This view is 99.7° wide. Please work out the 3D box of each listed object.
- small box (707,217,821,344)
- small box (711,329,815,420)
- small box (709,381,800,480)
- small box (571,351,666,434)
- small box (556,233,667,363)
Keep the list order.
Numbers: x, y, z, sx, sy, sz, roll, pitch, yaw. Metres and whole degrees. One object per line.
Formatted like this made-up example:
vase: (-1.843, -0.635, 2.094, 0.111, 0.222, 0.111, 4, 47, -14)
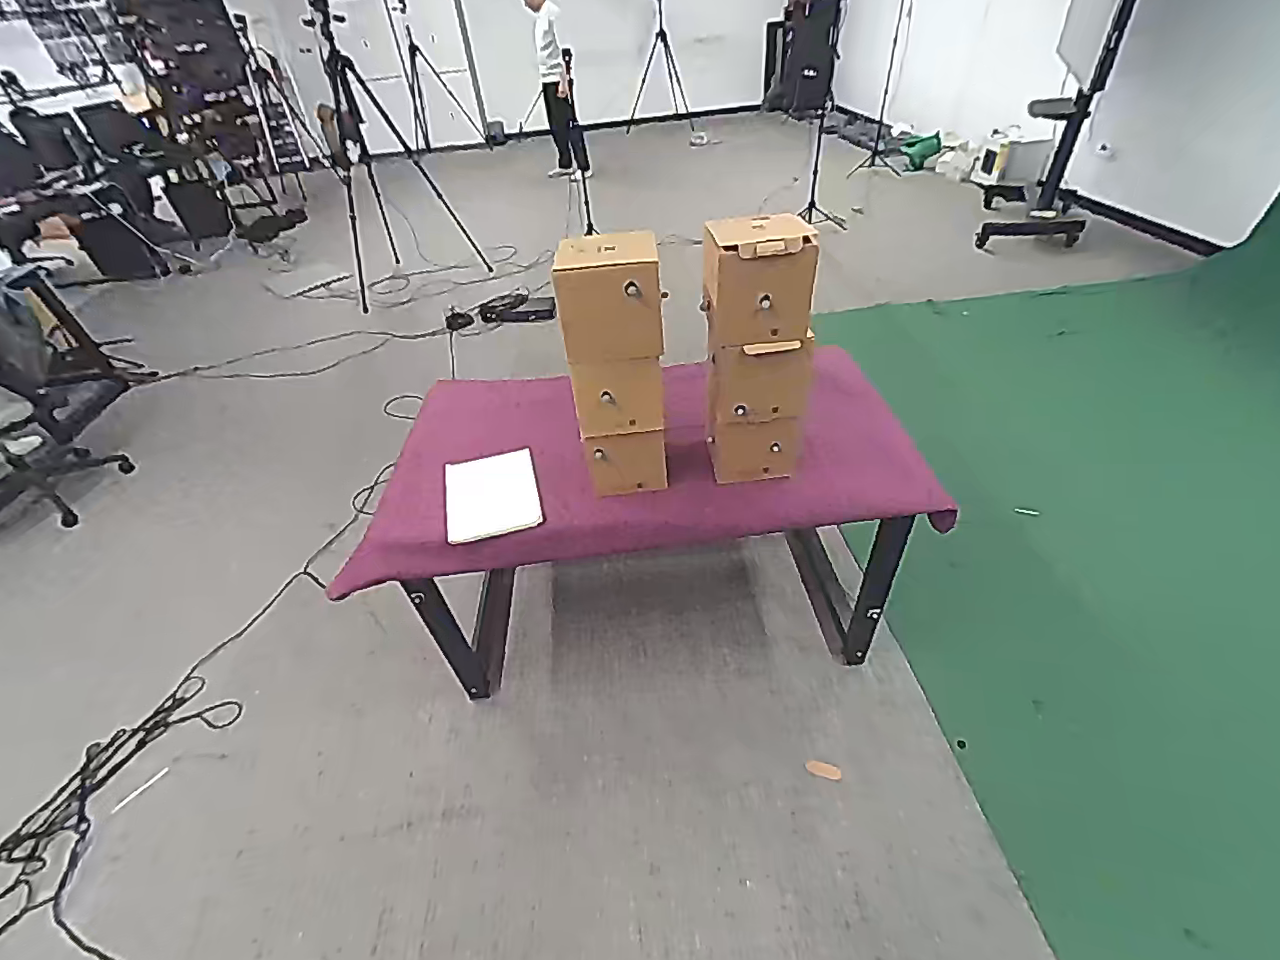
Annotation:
small box: (0.213, -0.355, 0.977, 0.168, 0.176, 0.179, -4, 41, 0)
small box: (0.237, -0.232, 1.083, 0.168, 0.176, 0.179, -6, 40, -1)
small box: (0.245, -0.111, 1.193, 0.168, 0.176, 0.179, -5, 40, 0)
small box: (-0.038, -0.203, 1.083, 0.168, 0.176, 0.179, -6, 40, 1)
small box: (-0.042, -0.325, 0.971, 0.179, 0.176, 0.168, -5, 39, 3)
